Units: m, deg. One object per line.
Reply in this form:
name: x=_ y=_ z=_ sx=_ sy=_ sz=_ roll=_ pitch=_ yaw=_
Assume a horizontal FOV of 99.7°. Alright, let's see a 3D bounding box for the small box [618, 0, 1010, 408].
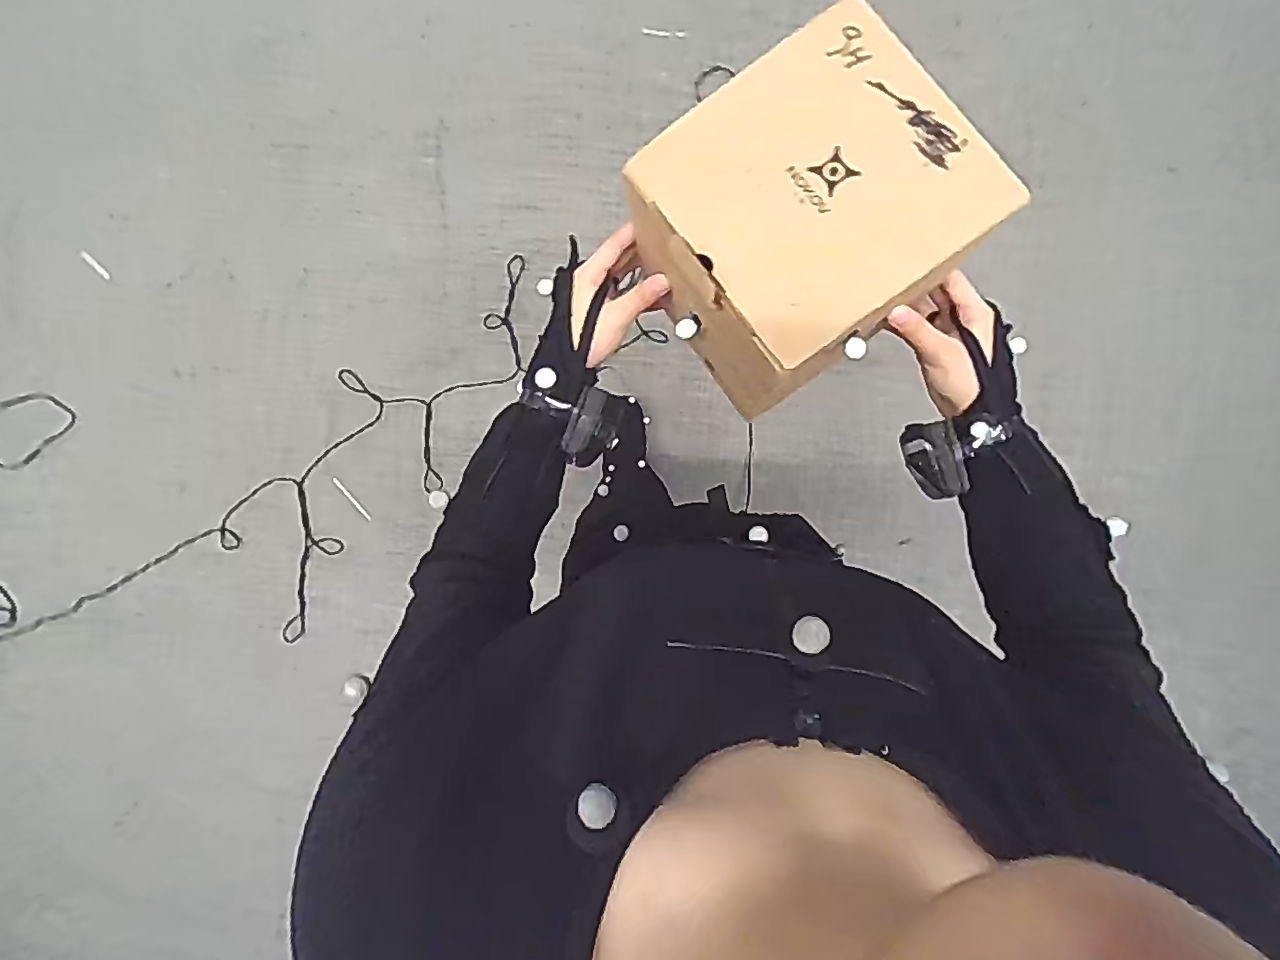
small box: x=0.109 y=-0.175 z=0.404 sx=0.179 sy=0.176 sz=0.168 roll=-35 pitch=84 yaw=2
